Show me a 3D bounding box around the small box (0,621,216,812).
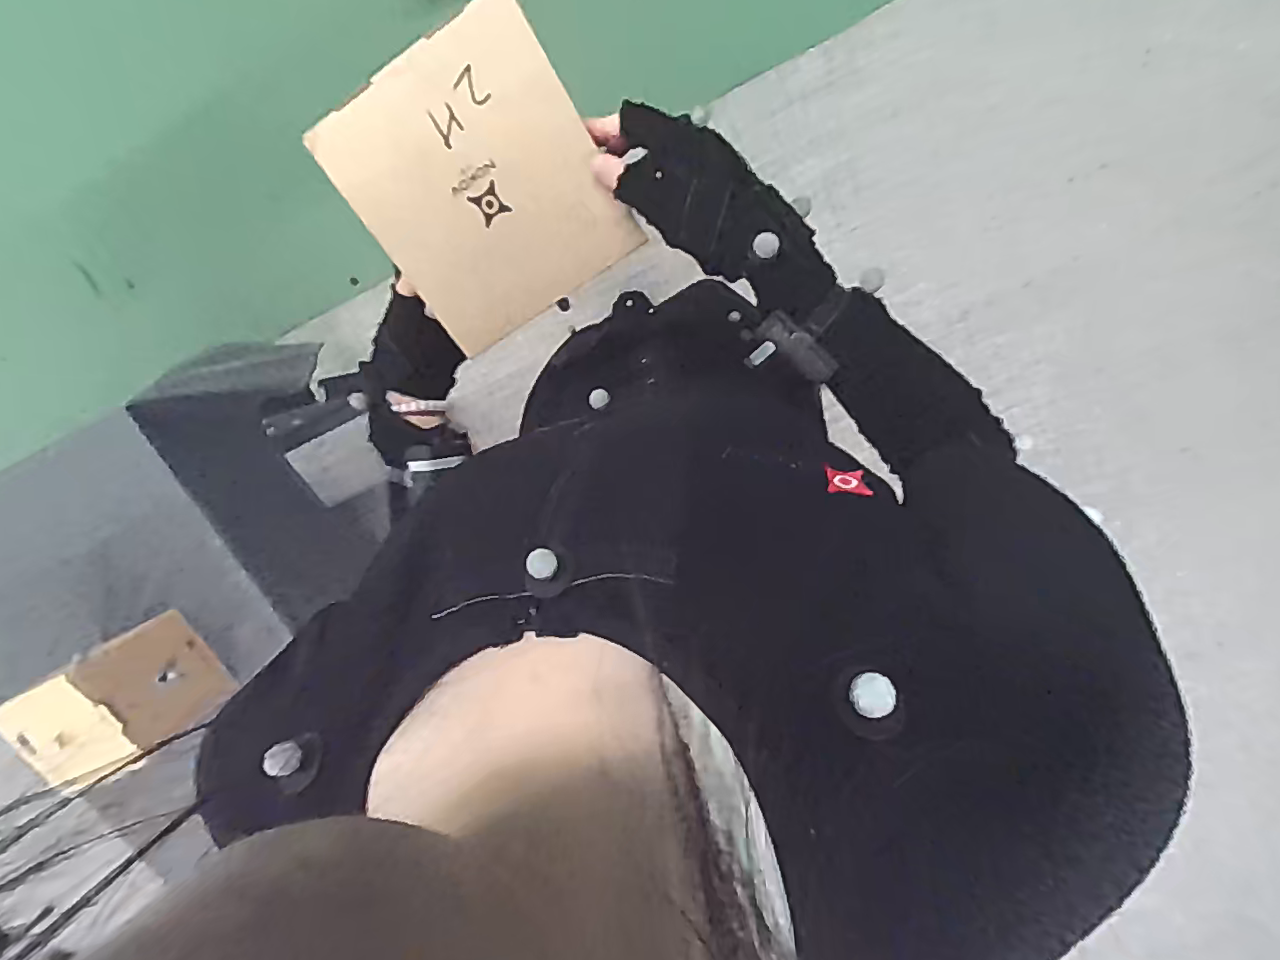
[{"bbox_3d":[-0.787,0.341,0.804,0.179,0.176,0.168,-26,104,10],"label":"small box"}]
